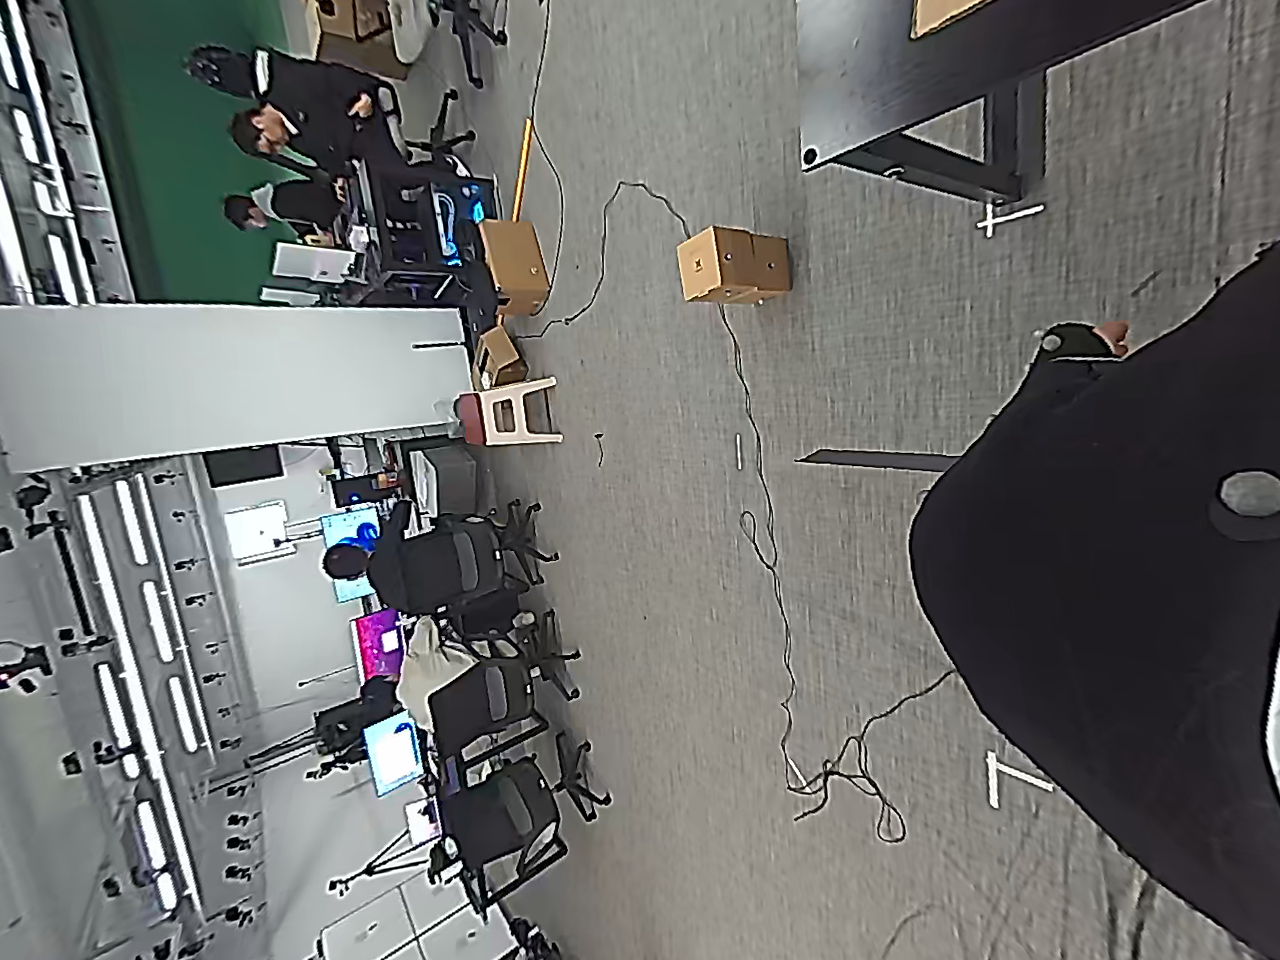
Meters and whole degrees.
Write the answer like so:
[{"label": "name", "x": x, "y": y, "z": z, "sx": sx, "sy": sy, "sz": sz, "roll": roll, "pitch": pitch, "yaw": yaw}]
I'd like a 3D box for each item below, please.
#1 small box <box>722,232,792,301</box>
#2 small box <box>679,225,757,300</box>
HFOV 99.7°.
[{"label": "small box", "x": 0.379, "y": -0.696, "z": 1.781, "sx": 0.168, "sy": 0.176, "sz": 0.179, "roll": 2, "pitch": 102, "yaw": 54}, {"label": "small box", "x": 0.248, "y": -0.673, "z": 1.686, "sx": 0.168, "sy": 0.176, "sz": 0.179, "roll": -3, "pitch": 97, "yaw": 54}]
